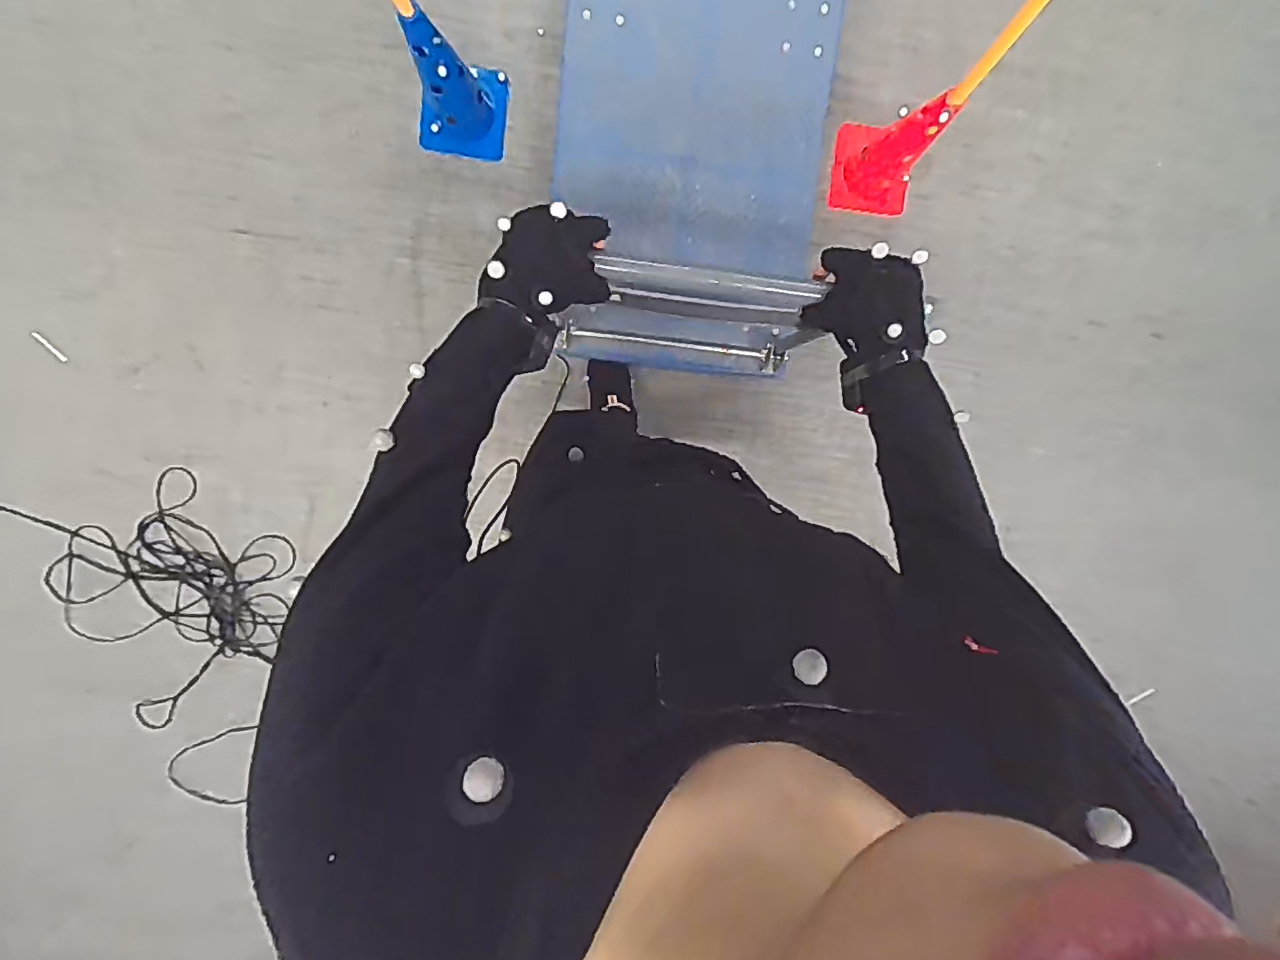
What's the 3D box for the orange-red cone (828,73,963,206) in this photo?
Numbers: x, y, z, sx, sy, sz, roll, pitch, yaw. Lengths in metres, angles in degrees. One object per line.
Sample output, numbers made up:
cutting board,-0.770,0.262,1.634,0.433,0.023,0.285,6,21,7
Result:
orange-red cone,0.583,-0.770,1.186,0.199,0.360,0.198,7,99,-2
